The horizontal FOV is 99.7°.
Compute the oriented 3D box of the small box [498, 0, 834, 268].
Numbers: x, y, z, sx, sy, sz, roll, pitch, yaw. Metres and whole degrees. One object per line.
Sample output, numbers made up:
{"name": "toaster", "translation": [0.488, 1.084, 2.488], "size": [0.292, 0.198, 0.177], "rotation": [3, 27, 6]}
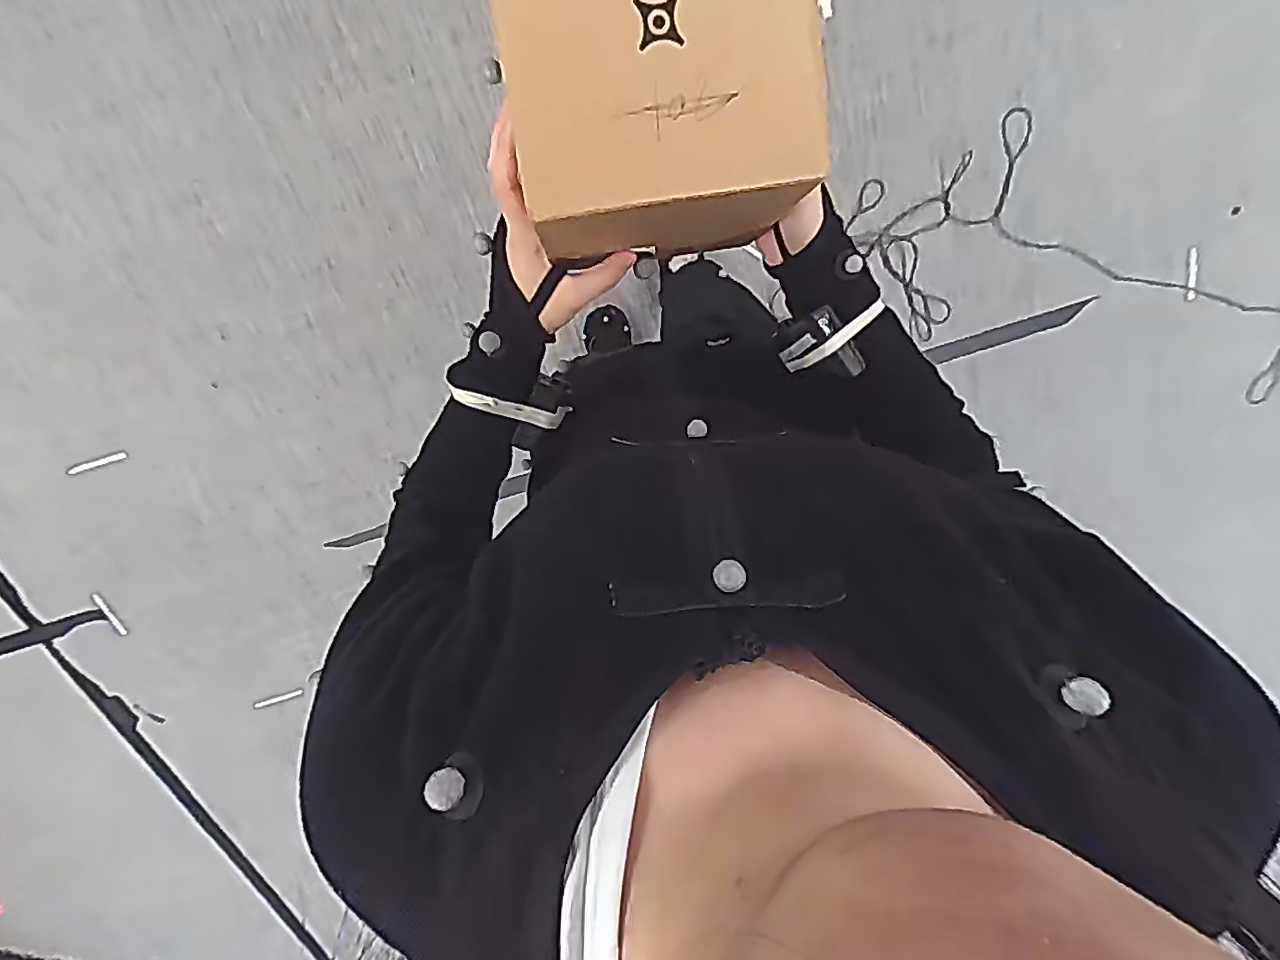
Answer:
{"name": "small box", "translation": [0.005, -0.253, 0.348], "size": [0.168, 0.176, 0.179], "rotation": [-10, 102, -2]}
